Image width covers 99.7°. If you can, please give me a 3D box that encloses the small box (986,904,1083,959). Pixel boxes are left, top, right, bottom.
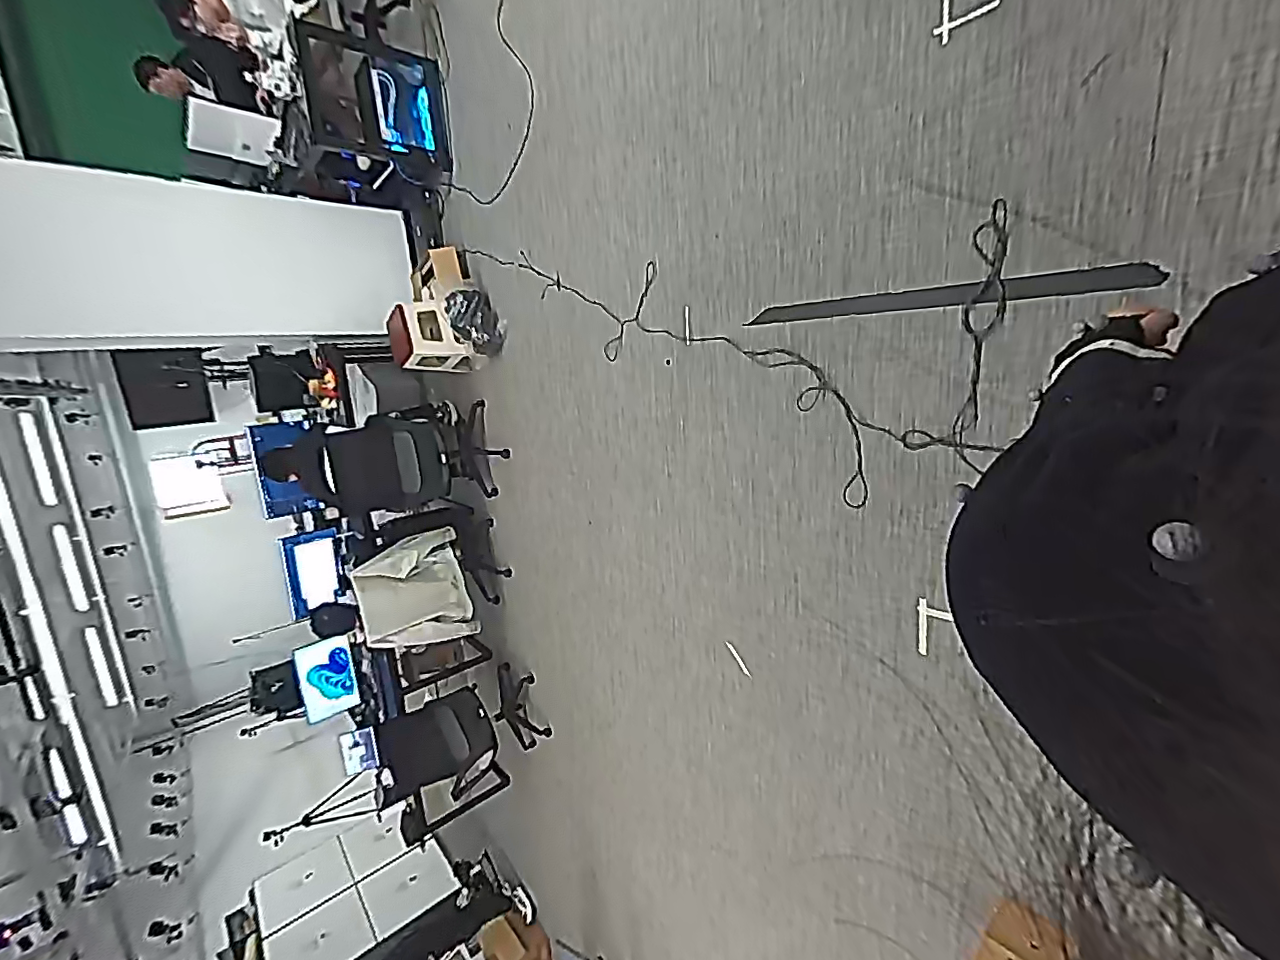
[{"bbox_3d":[1.040,1.284,1.436,0.179,0.176,0.168,11,109,47],"label":"small box"}]

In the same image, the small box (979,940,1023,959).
[{"bbox_3d":[0.919,1.304,1.328,0.168,0.176,0.179,8,108,49],"label":"small box"}]
